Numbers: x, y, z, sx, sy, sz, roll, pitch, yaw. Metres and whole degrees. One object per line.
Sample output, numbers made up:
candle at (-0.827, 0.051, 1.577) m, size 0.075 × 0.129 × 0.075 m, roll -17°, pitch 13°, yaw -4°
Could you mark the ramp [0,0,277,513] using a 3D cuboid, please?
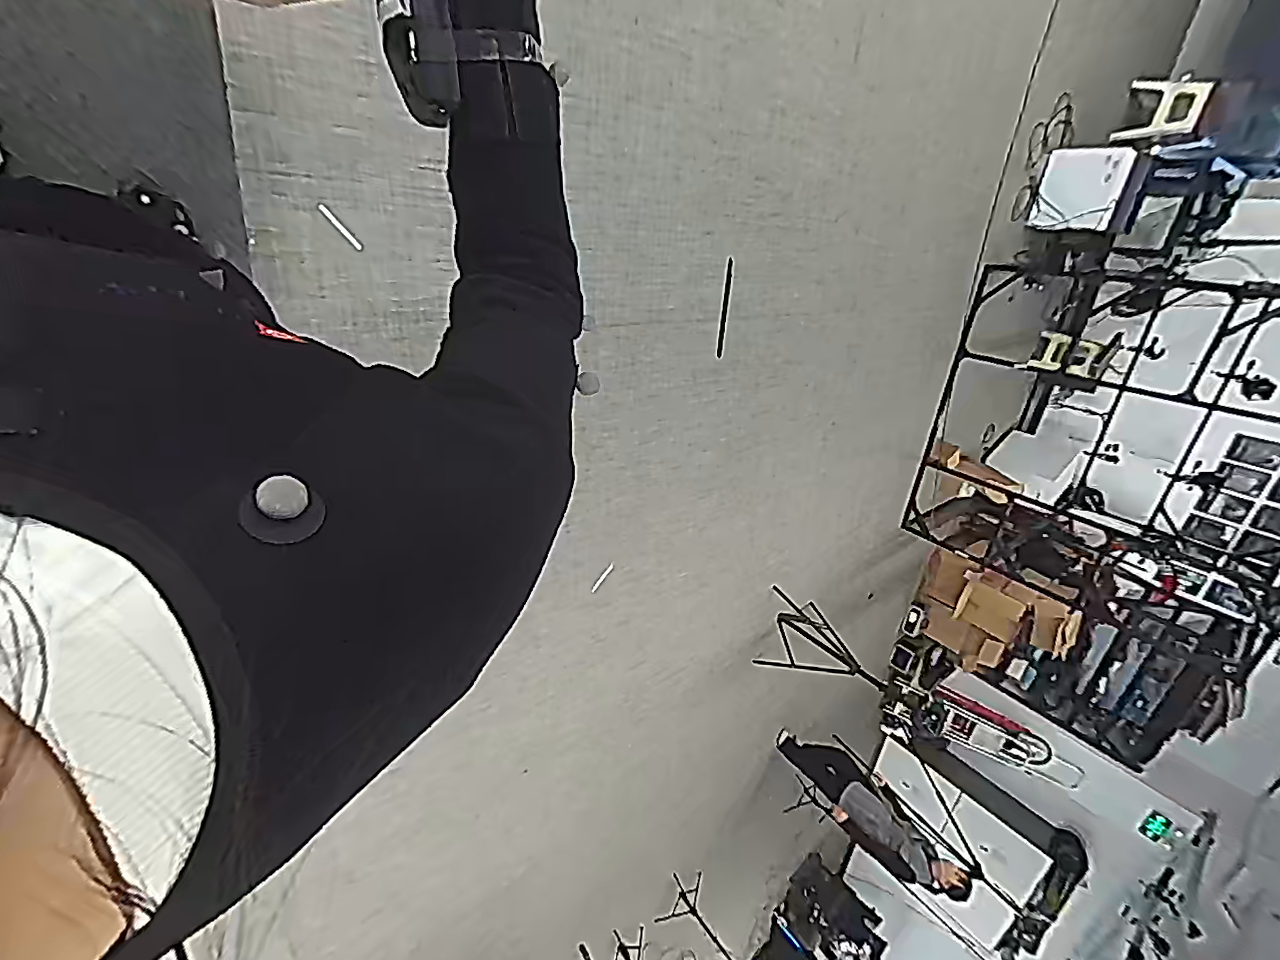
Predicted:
ramp at (-1.024, -0.384, 1.015) m, size 0.509 × 0.206 × 0.991 m, roll -15°, pitch 123°, yaw -38°
